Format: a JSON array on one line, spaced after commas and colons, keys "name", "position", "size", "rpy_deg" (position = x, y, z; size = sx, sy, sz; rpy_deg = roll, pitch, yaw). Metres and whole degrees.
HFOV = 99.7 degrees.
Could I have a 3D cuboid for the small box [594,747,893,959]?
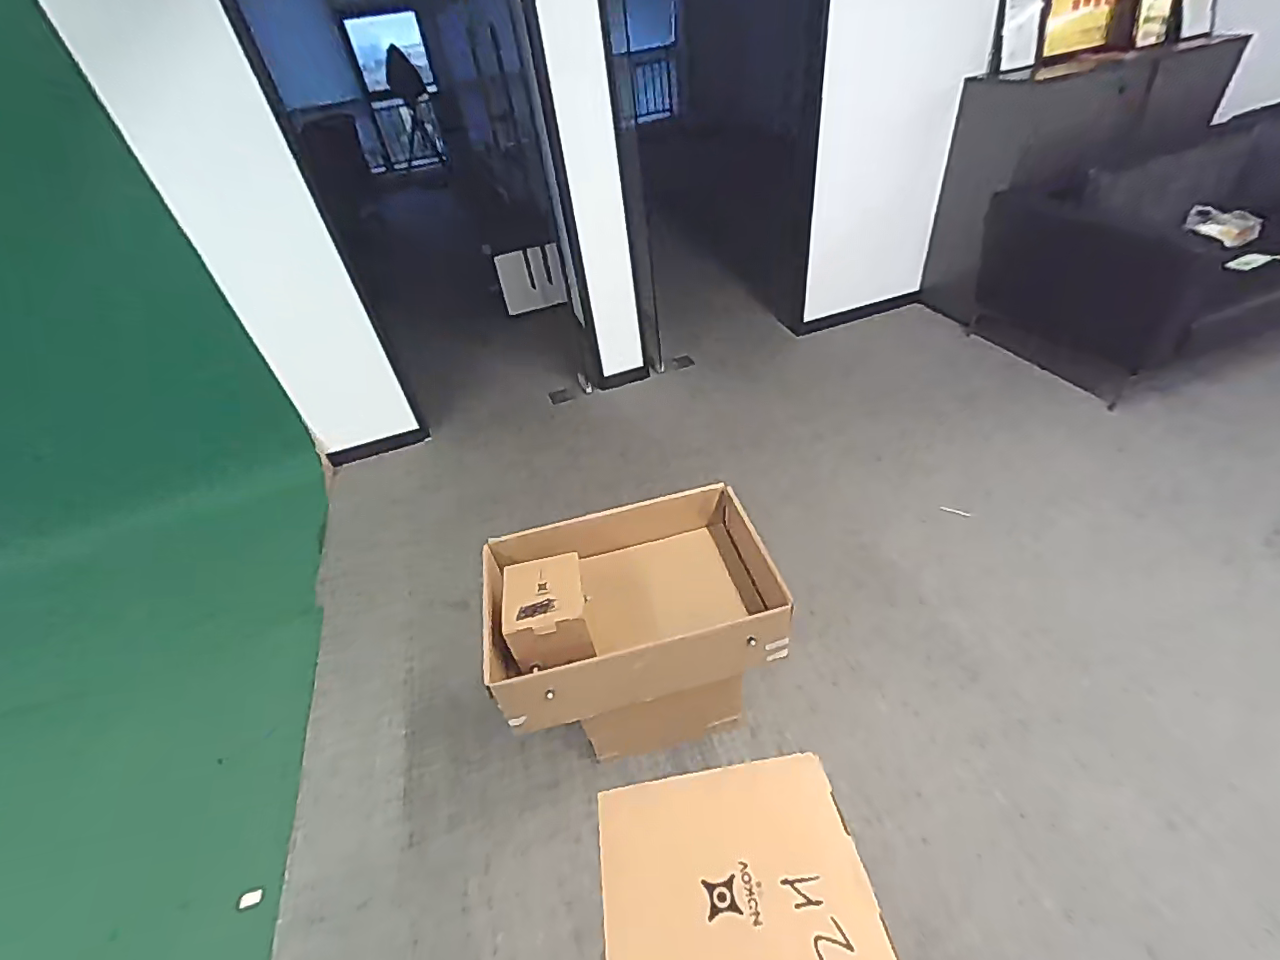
[{"name": "small box", "position": [0.068, 0.333, 0.400], "size": [0.179, 0.176, 0.168], "rpy_deg": [-9, 35, -1]}]
